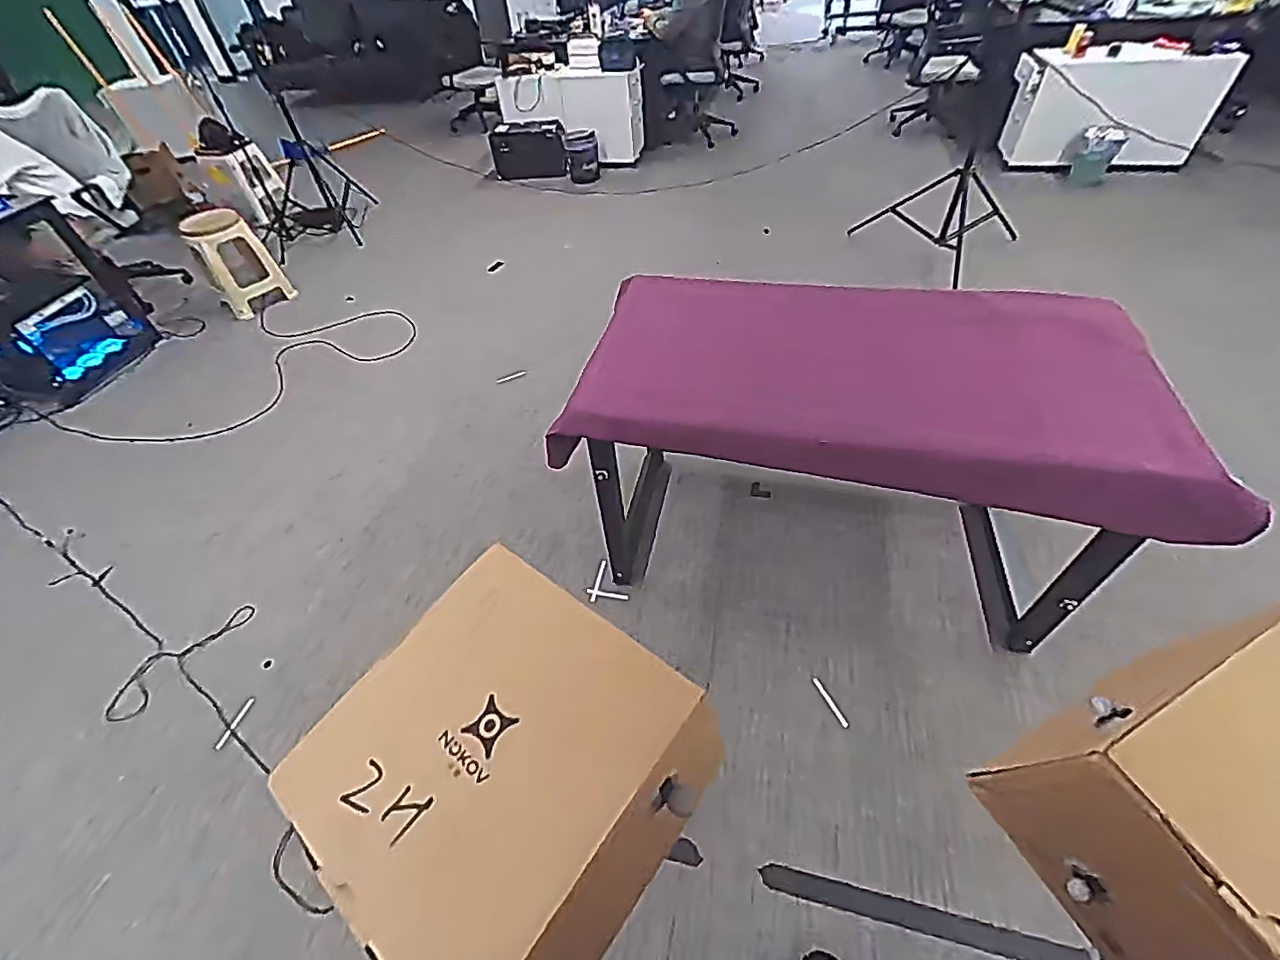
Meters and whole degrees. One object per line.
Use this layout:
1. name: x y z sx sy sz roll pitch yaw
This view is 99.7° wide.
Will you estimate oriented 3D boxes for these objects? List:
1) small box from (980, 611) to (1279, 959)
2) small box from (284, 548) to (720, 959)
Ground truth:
1. small box: 0.350 0.200 0.315 0.179 0.176 0.168 -28 59 -11
2. small box: -0.062 0.182 0.342 0.168 0.176 0.179 28 65 30
